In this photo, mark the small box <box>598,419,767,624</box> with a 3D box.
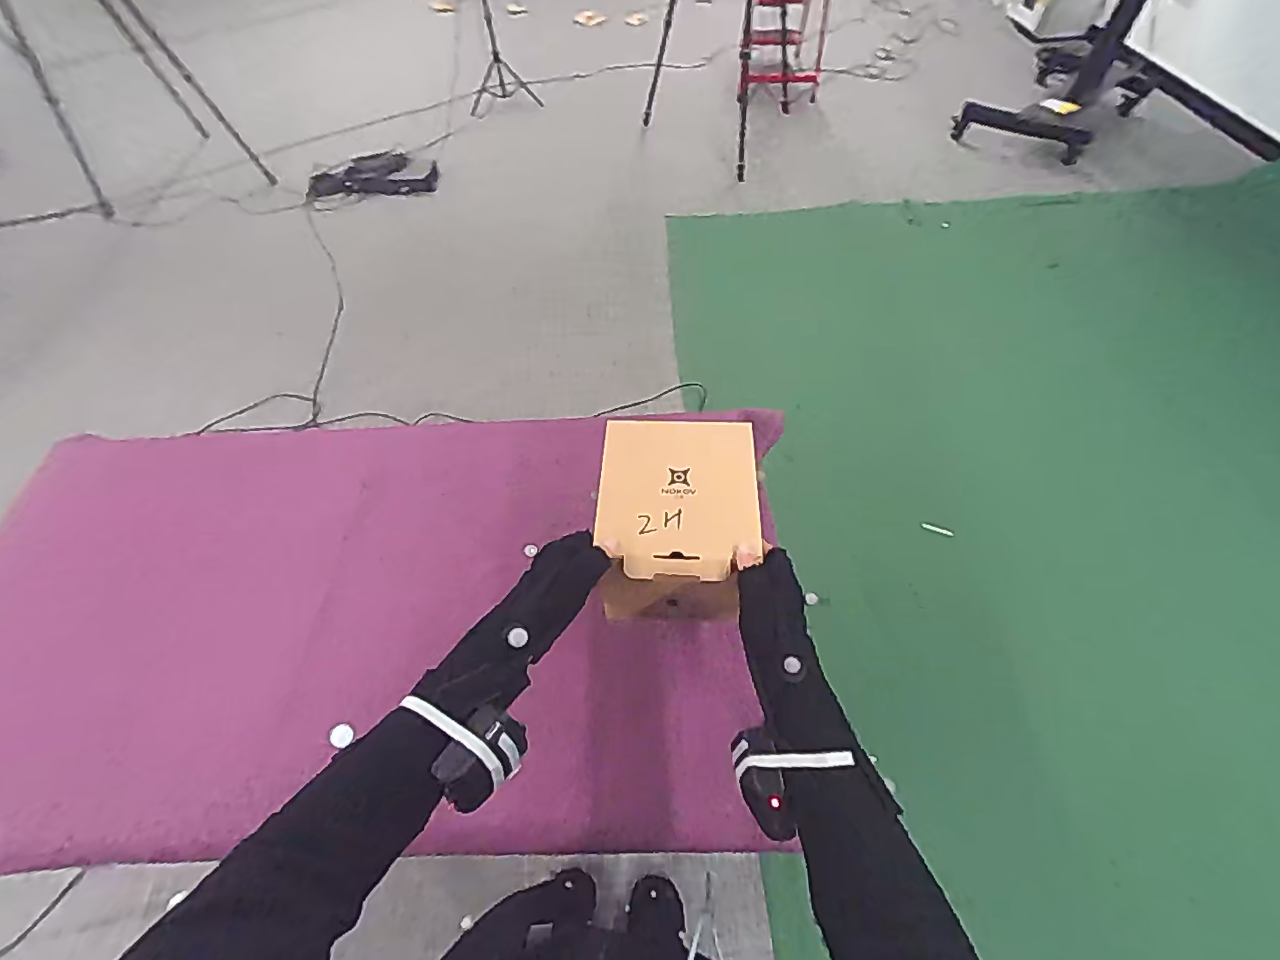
[{"bbox_3d":[0.048,0.050,0.628,0.168,0.176,0.179,2,57,4],"label":"small box"}]
